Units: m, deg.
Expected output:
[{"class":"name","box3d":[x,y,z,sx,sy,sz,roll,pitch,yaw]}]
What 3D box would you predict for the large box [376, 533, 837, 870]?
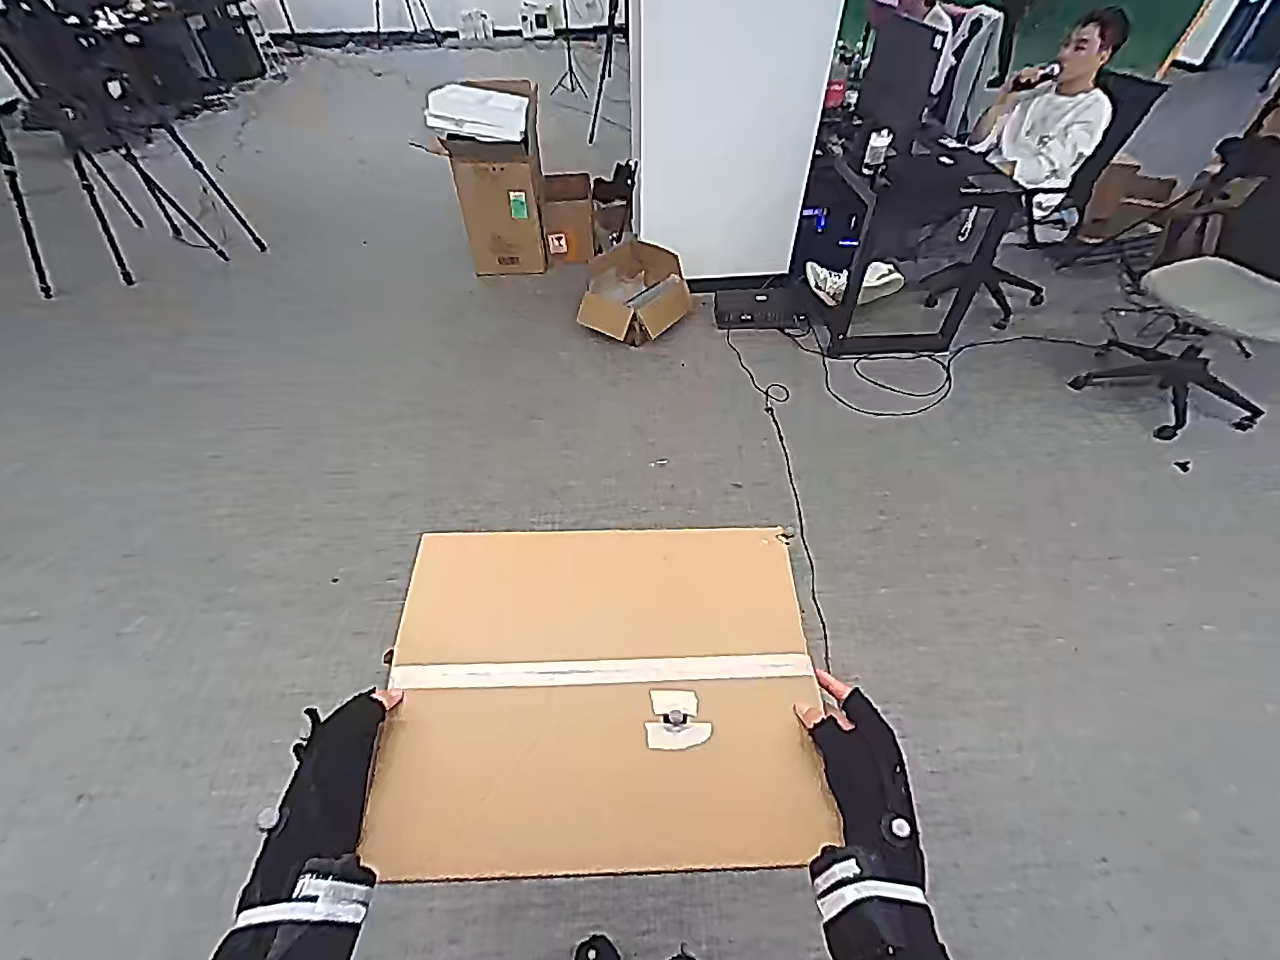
[{"class":"large box","box3d":[-0.036,0.277,0.665,0.408,0.320,0.320,-1,56,-2]}]
